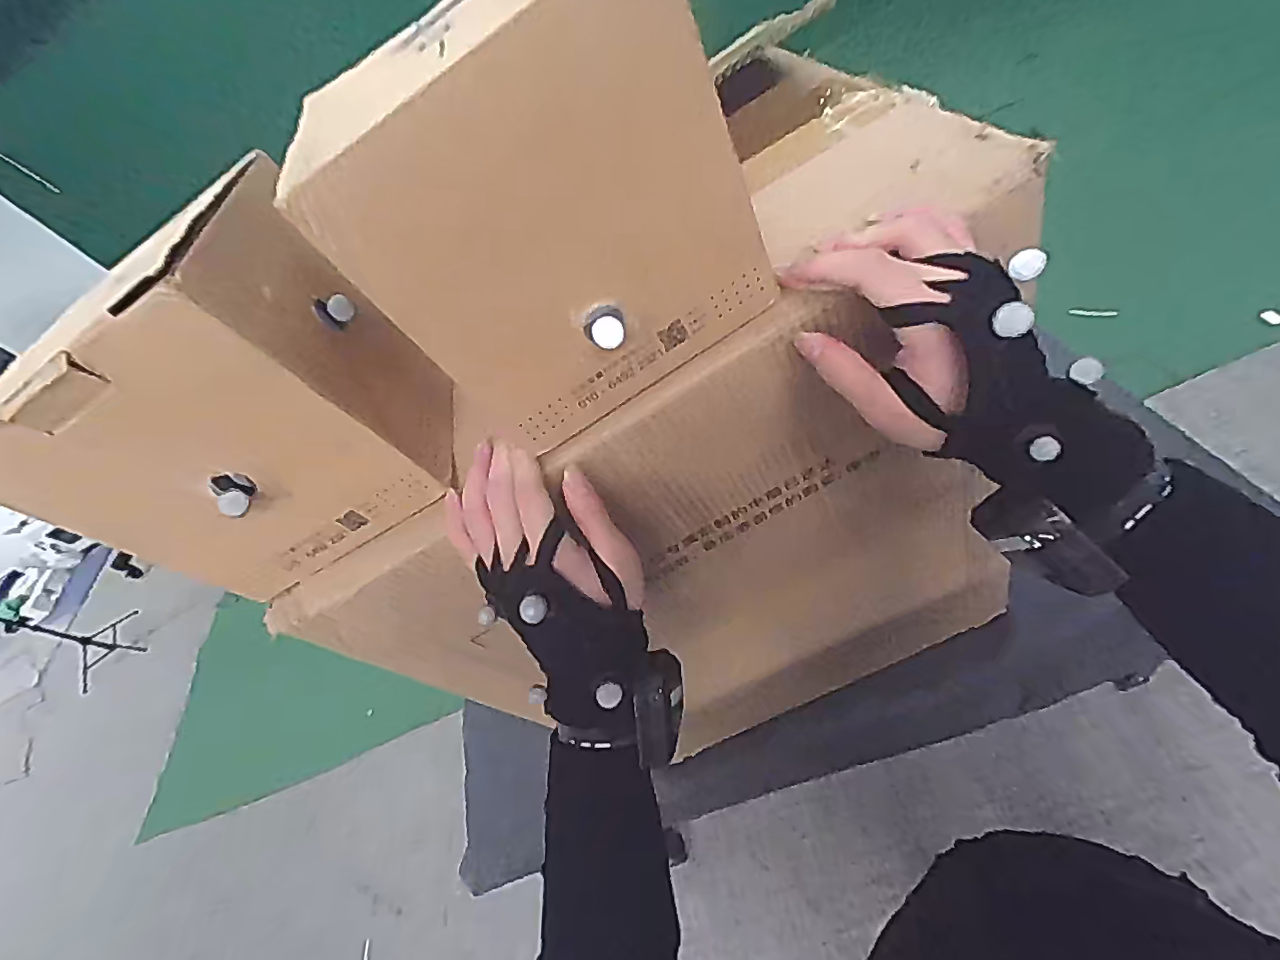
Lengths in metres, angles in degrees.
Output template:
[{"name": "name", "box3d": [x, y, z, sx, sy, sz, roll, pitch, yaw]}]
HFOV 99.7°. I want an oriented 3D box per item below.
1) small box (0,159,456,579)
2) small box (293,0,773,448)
[{"name": "small box", "box3d": [-0.237, -0.056, 0.349, 0.168, 0.176, 0.179, -29, 48, 11]}, {"name": "small box", "box3d": [-0.050, -0.151, 0.304, 0.168, 0.176, 0.179, -32, 49, 7]}]
